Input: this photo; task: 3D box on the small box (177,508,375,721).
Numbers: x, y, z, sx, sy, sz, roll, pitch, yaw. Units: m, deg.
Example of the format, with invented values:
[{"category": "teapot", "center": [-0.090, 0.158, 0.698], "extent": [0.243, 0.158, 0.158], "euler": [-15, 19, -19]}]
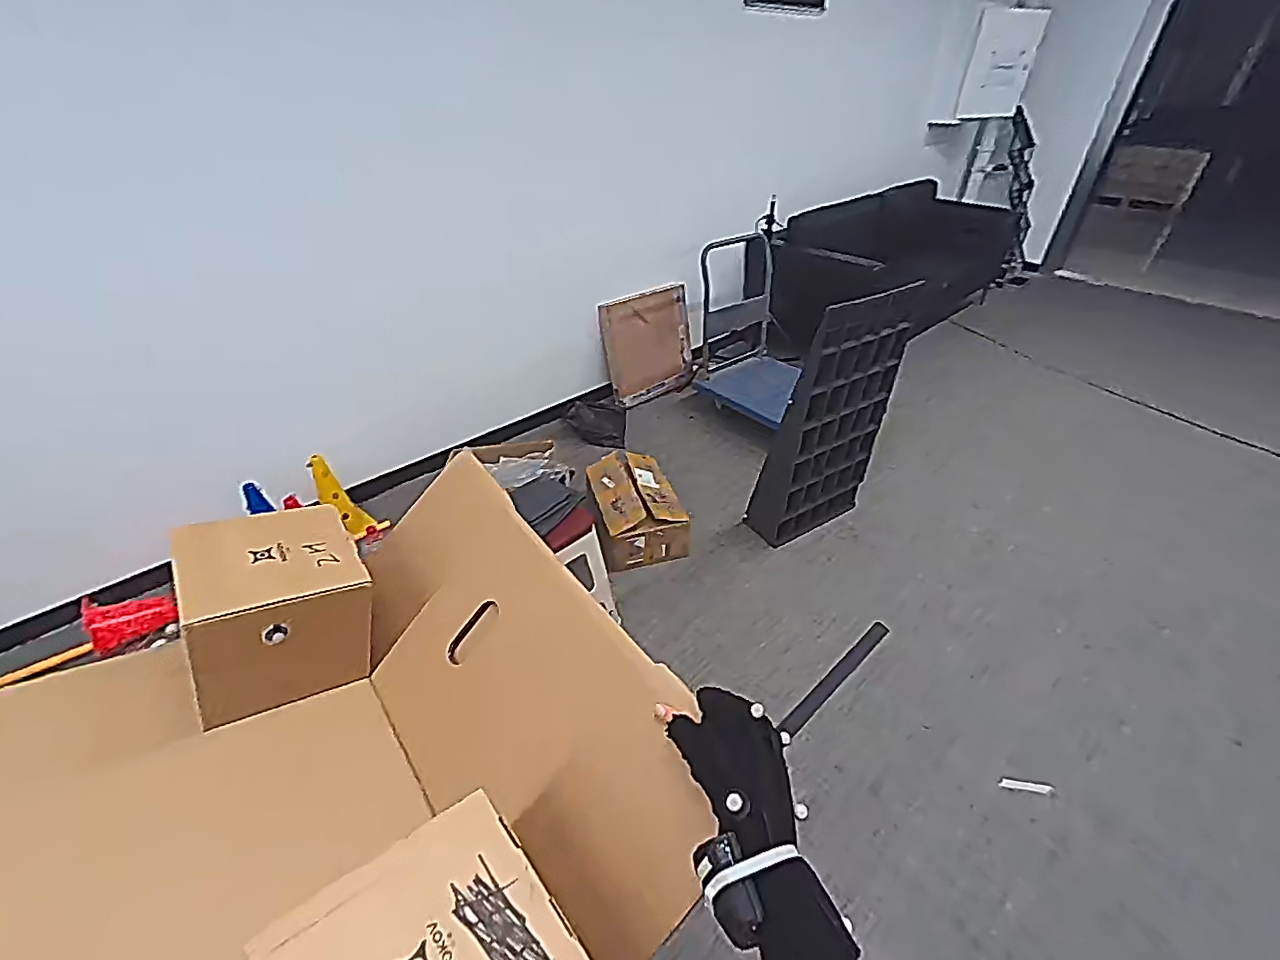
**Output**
[{"category": "small box", "center": [-0.440, 0.159, 0.665], "extent": [0.179, 0.176, 0.168], "euler": [-8, 38, -39]}]
